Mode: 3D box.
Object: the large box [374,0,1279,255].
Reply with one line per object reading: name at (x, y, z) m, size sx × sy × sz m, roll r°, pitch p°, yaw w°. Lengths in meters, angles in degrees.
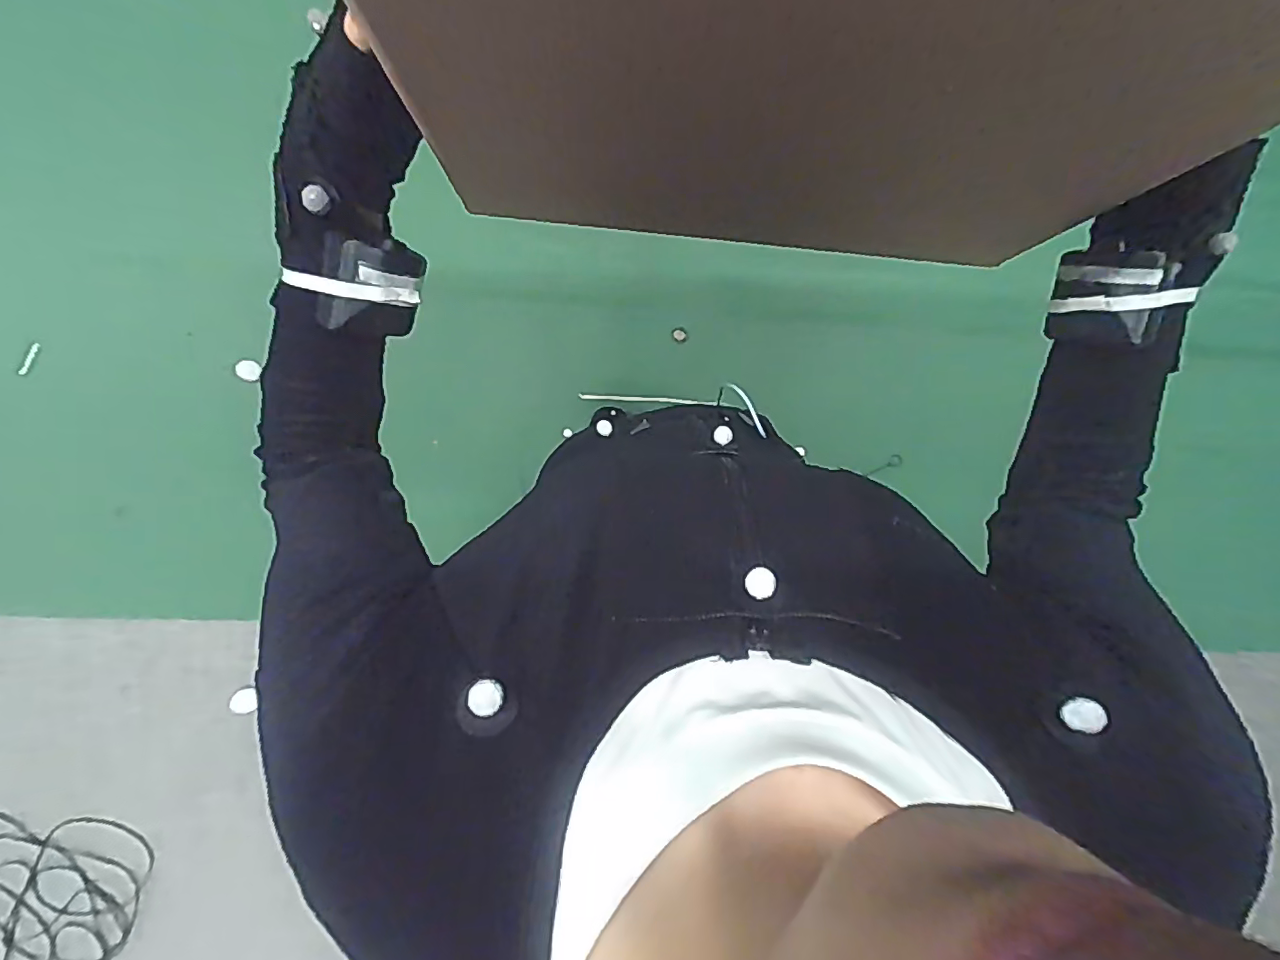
large box at (0.094, -0.330, 0.251) m, size 0.408 × 0.320 × 0.320 m, roll 5°, pitch 92°, yaw -4°
